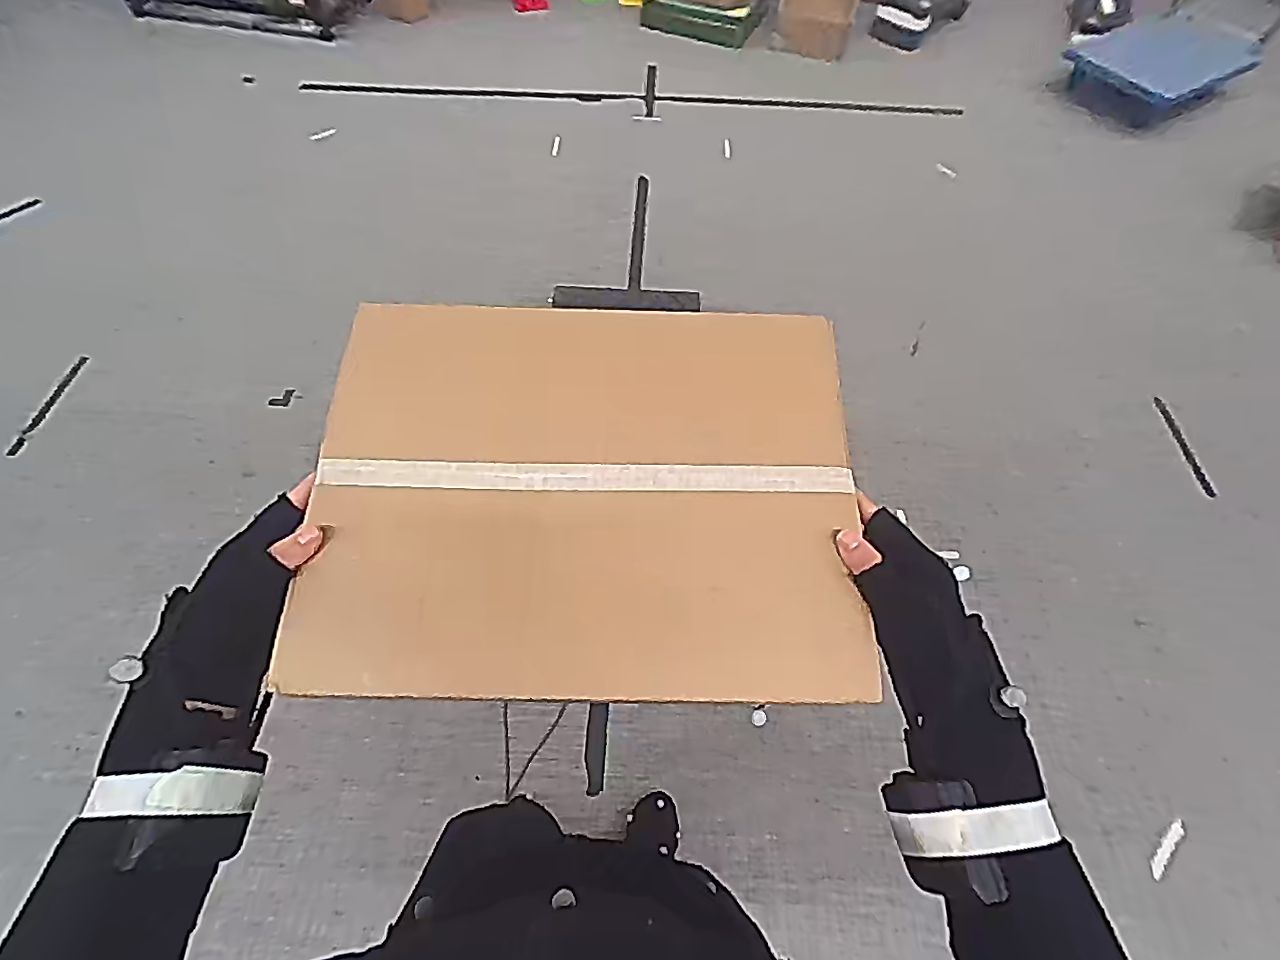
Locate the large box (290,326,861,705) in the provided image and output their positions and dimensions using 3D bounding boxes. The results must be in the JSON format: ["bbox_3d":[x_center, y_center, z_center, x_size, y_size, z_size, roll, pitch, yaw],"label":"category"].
[{"bbox_3d":[-0.044,0.060,0.564,0.408,0.320,0.320,1,68,-1],"label":"large box"}]
